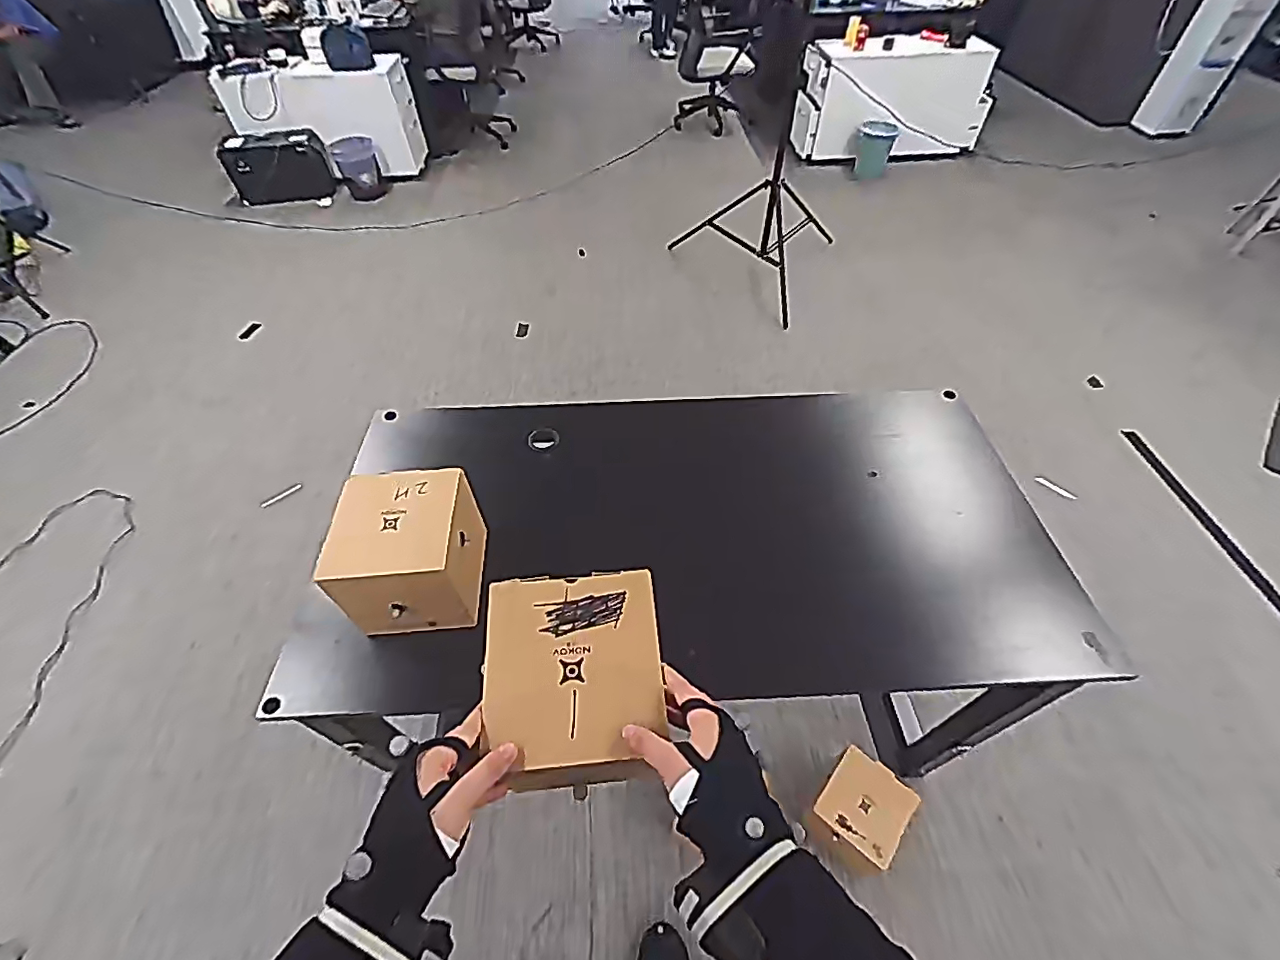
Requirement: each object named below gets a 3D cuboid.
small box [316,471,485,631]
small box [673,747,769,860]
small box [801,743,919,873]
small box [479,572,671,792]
[{"bbox_3d":[-0.333,0.110,0.795,0.168,0.176,0.179,-4,50,-3],"label":"small box"},{"bbox_3d":[0.178,0.732,1.219,0.179,0.176,0.168,13,51,13],"label":"small box"},{"bbox_3d":[0.482,0.733,1.208,0.168,0.176,0.179,33,58,25],"label":"small box"},{"bbox_3d":[-0.063,0.216,0.571,0.168,0.176,0.179,-5,56,-3],"label":"small box"}]
